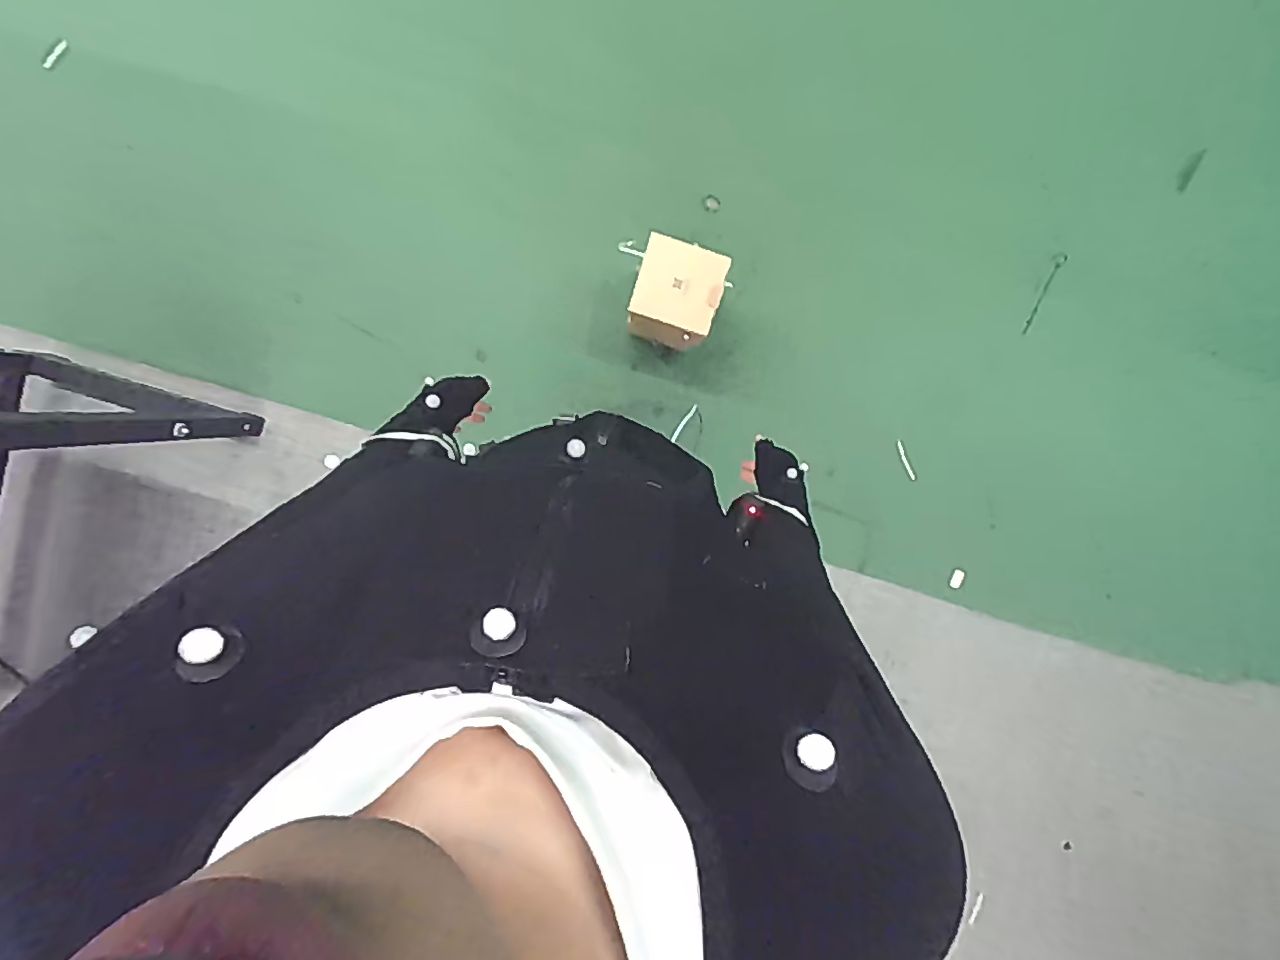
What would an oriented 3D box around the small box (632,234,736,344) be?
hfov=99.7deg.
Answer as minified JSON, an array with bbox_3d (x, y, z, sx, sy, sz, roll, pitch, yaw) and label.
[{"bbox_3d":[0.088,-0.407,1.184,0.179,0.176,0.168,17,96,-3],"label":"small box"}]
